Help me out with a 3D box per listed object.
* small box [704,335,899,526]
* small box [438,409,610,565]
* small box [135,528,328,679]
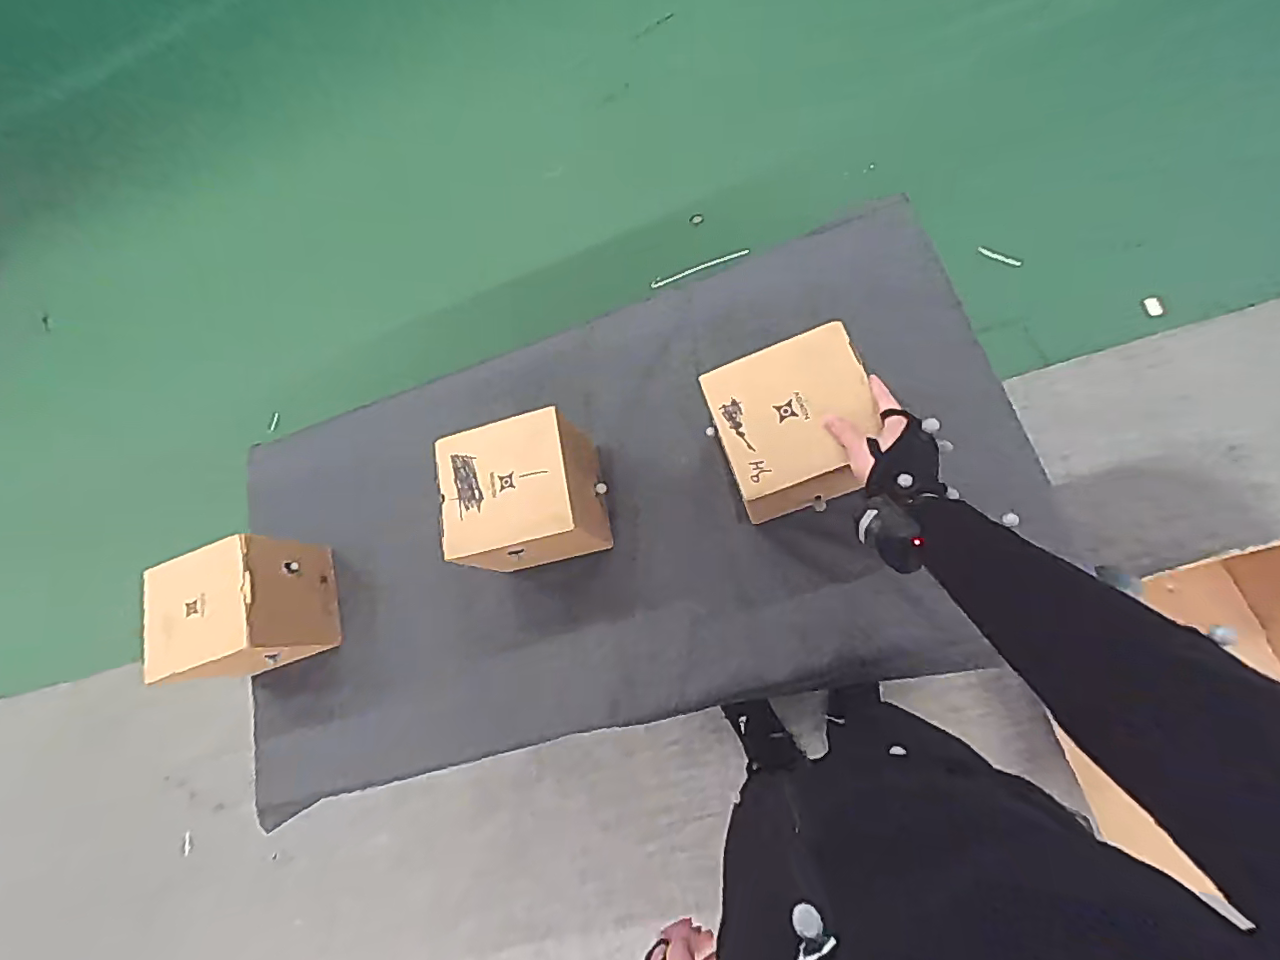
[{"bbox_3d":[0.198,-0.052,0.700,0.179,0.176,0.168,-23,73,9],"label":"small box"},{"bbox_3d":[-0.155,0.021,0.751,0.179,0.176,0.168,-11,75,12],"label":"small box"},{"bbox_3d":[-0.598,0.185,0.811,0.179,0.176,0.168,-21,71,10],"label":"small box"}]
